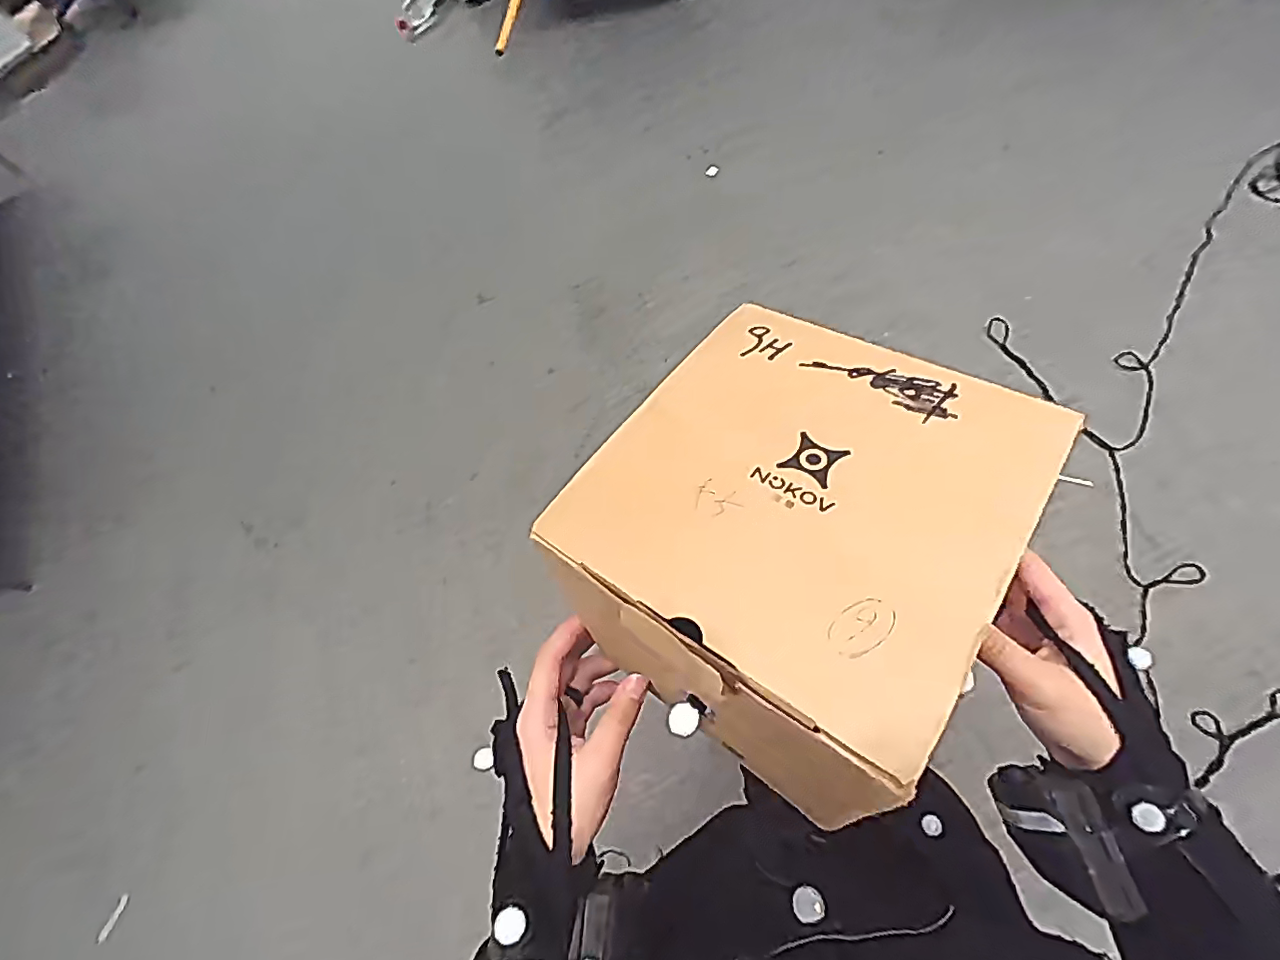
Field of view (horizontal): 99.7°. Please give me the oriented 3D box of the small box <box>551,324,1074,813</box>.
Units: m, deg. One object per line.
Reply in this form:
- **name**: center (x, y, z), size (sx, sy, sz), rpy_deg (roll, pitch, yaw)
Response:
- **small box**: center (0.085, 0.052, 0.302), size (0.168, 0.176, 0.179), rpy_deg (30, 65, 27)
